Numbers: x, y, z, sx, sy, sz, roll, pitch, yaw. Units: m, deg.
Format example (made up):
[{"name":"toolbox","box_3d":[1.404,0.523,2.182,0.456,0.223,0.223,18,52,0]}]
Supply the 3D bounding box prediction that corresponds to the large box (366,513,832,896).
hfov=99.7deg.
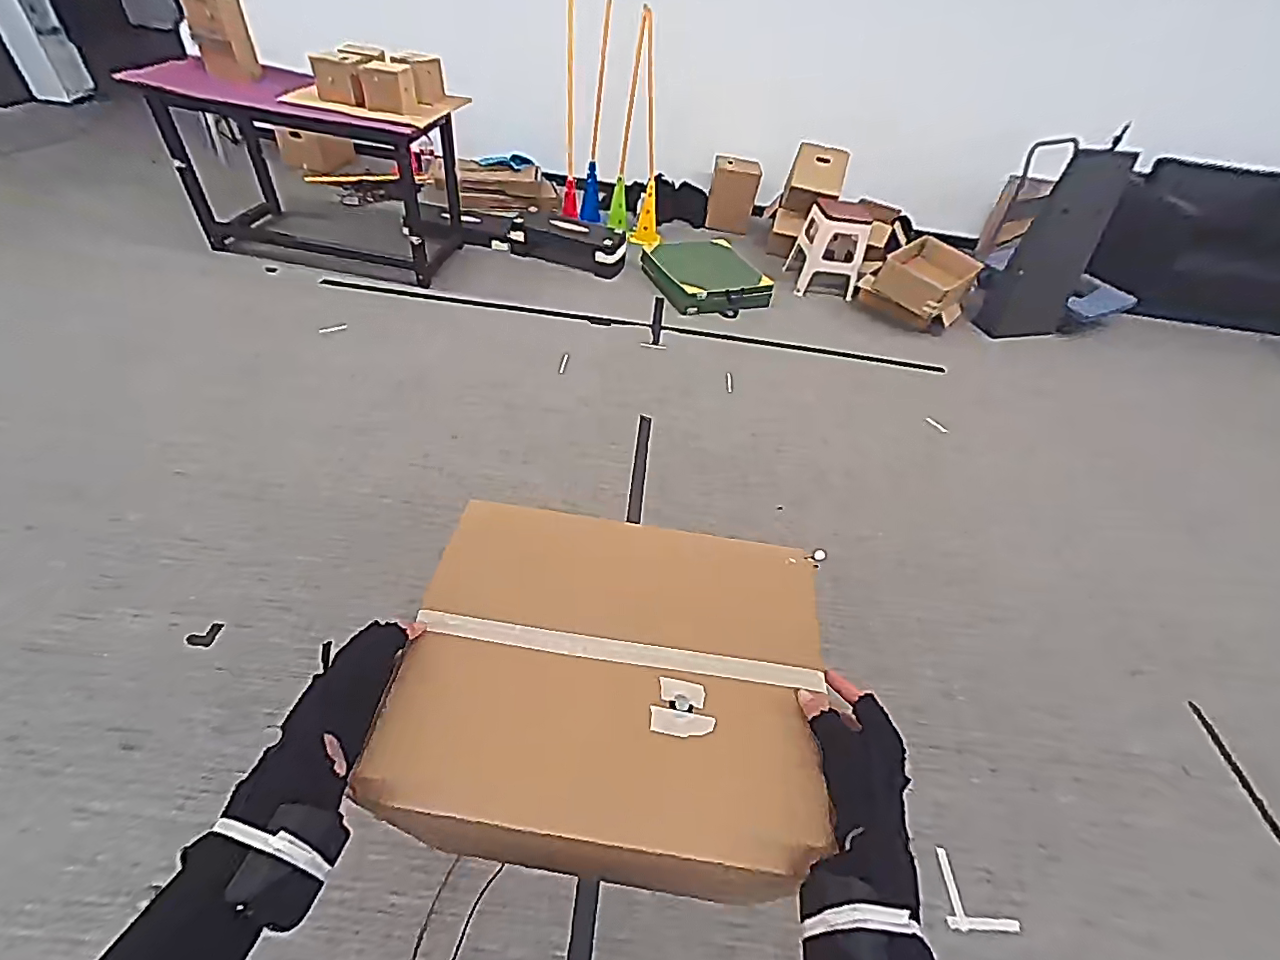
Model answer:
[{"name":"large box","box_3d":[-0.031,0.276,0.657,0.408,0.320,0.320,9,50,2]}]
